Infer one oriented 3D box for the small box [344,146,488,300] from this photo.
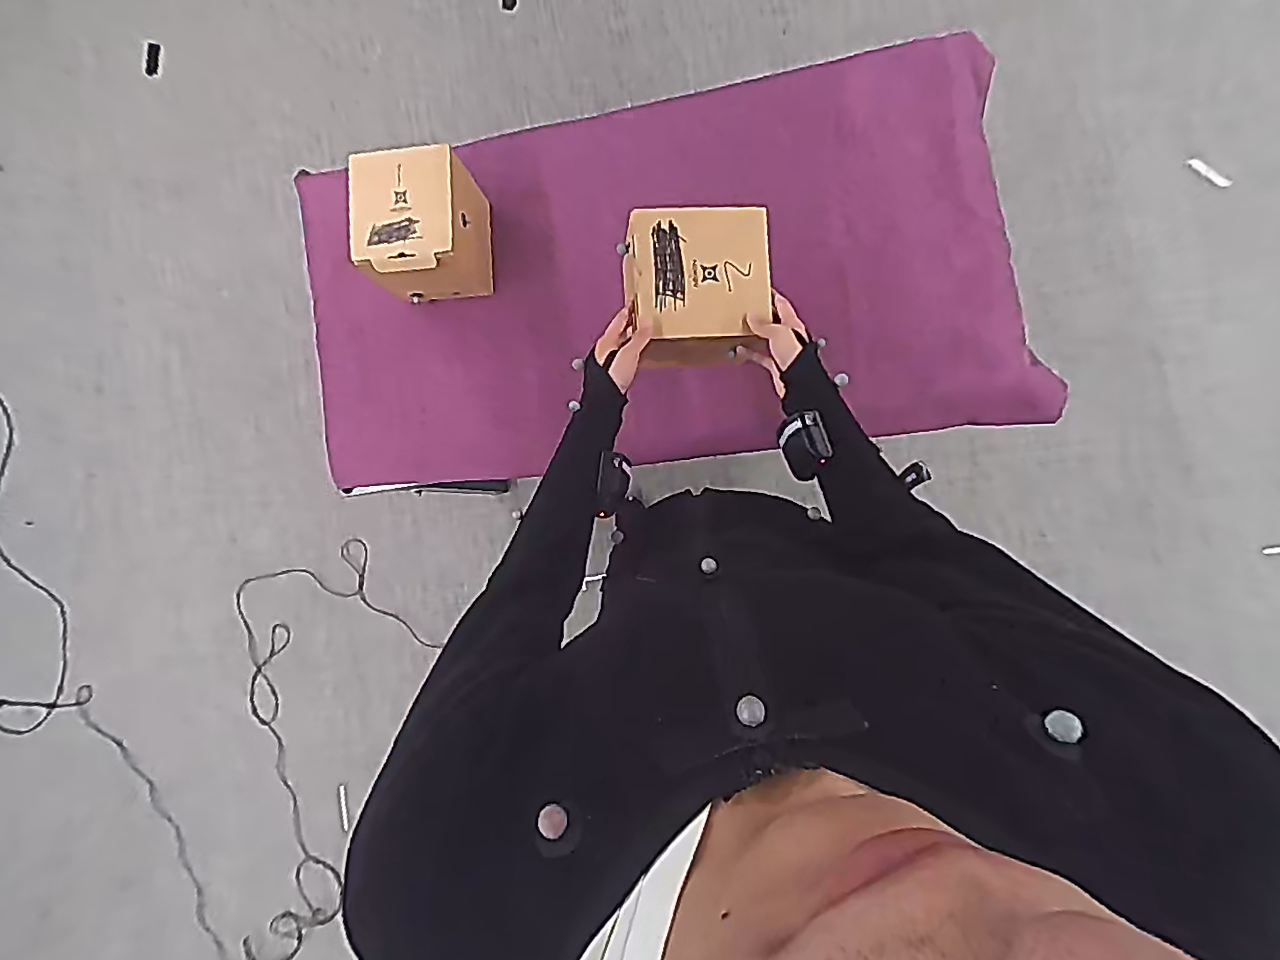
[{"bbox_3d":[-0.363,-0.413,0.903,0.168,0.176,0.179,-4,87,5],"label":"small box"}]
